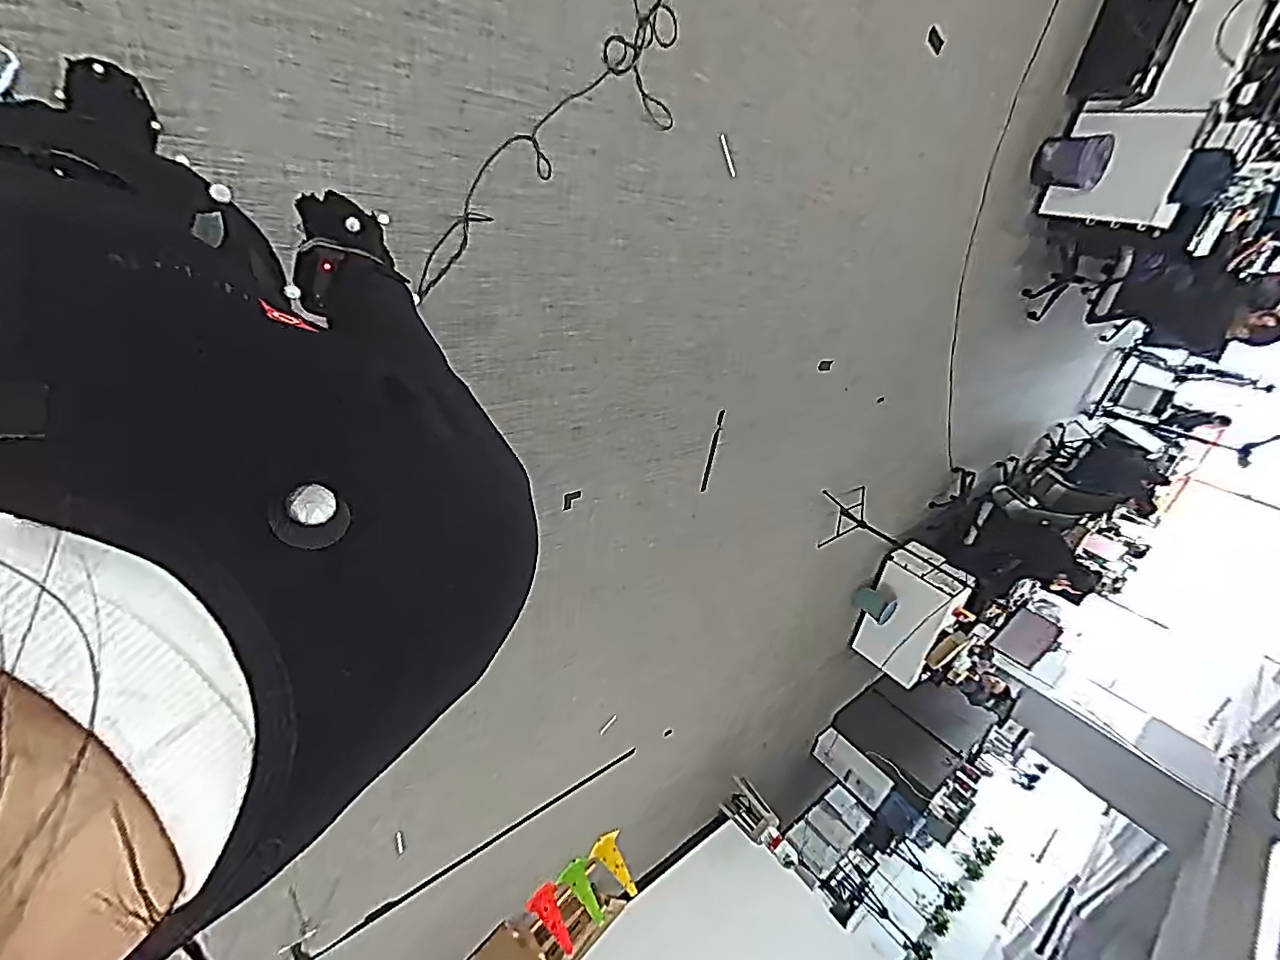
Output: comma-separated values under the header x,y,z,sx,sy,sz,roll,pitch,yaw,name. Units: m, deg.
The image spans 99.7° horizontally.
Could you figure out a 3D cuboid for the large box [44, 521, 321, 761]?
x,y,z,sx,sy,sz,roll,pitch,yaw,name
-1.028,0.346,1.265,0.408,0.320,0.320,-17,126,-33,large box
